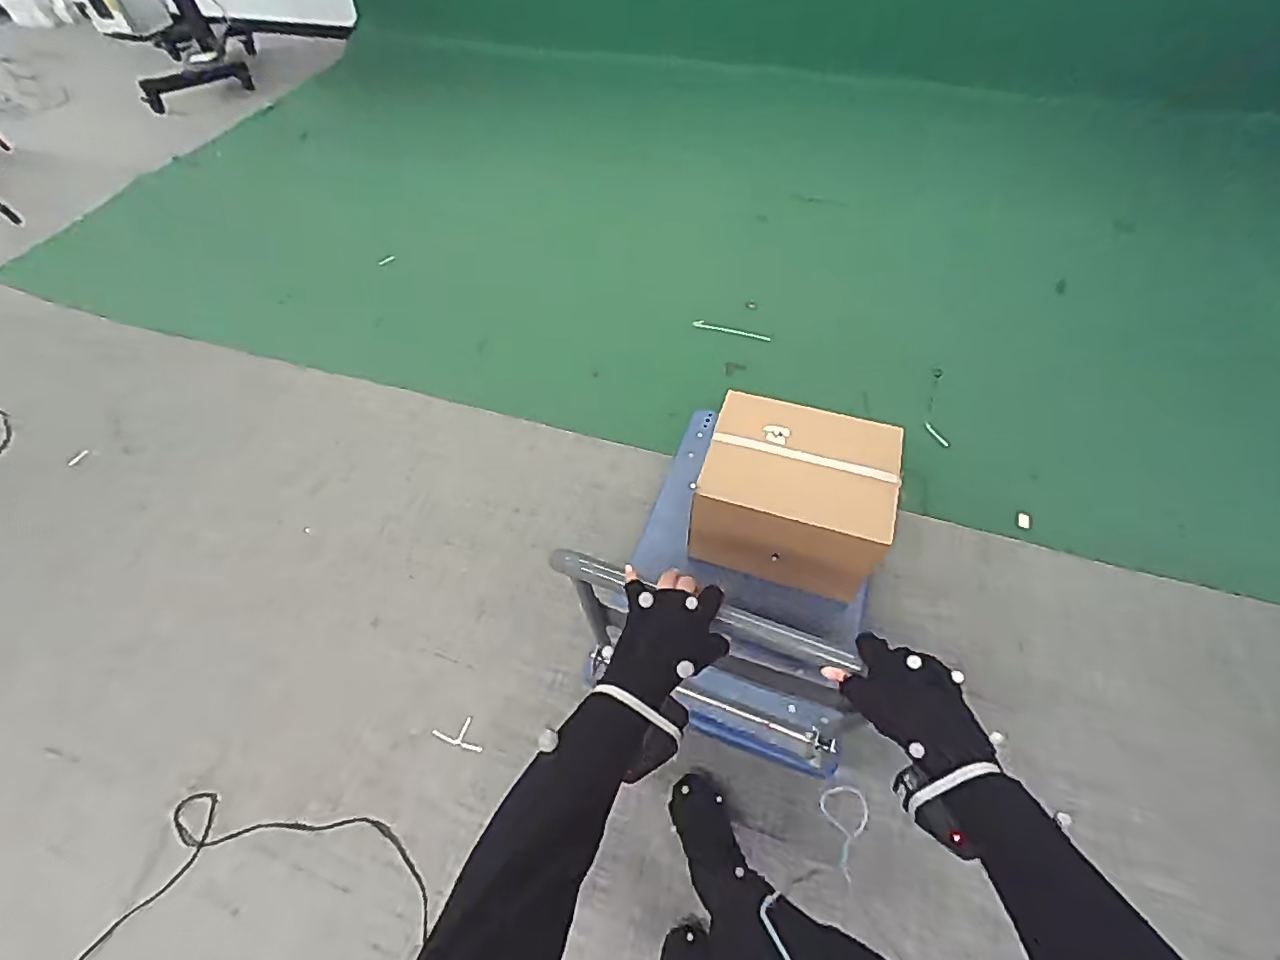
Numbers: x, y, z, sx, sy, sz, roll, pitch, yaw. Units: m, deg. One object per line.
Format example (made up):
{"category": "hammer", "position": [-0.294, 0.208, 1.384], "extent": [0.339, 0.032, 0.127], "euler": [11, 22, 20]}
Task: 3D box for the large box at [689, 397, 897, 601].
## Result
{"category": "large box", "position": [0.352, 0.050, 1.298], "extent": [0.408, 0.320, 0.320], "euler": [15, 57, 14]}
